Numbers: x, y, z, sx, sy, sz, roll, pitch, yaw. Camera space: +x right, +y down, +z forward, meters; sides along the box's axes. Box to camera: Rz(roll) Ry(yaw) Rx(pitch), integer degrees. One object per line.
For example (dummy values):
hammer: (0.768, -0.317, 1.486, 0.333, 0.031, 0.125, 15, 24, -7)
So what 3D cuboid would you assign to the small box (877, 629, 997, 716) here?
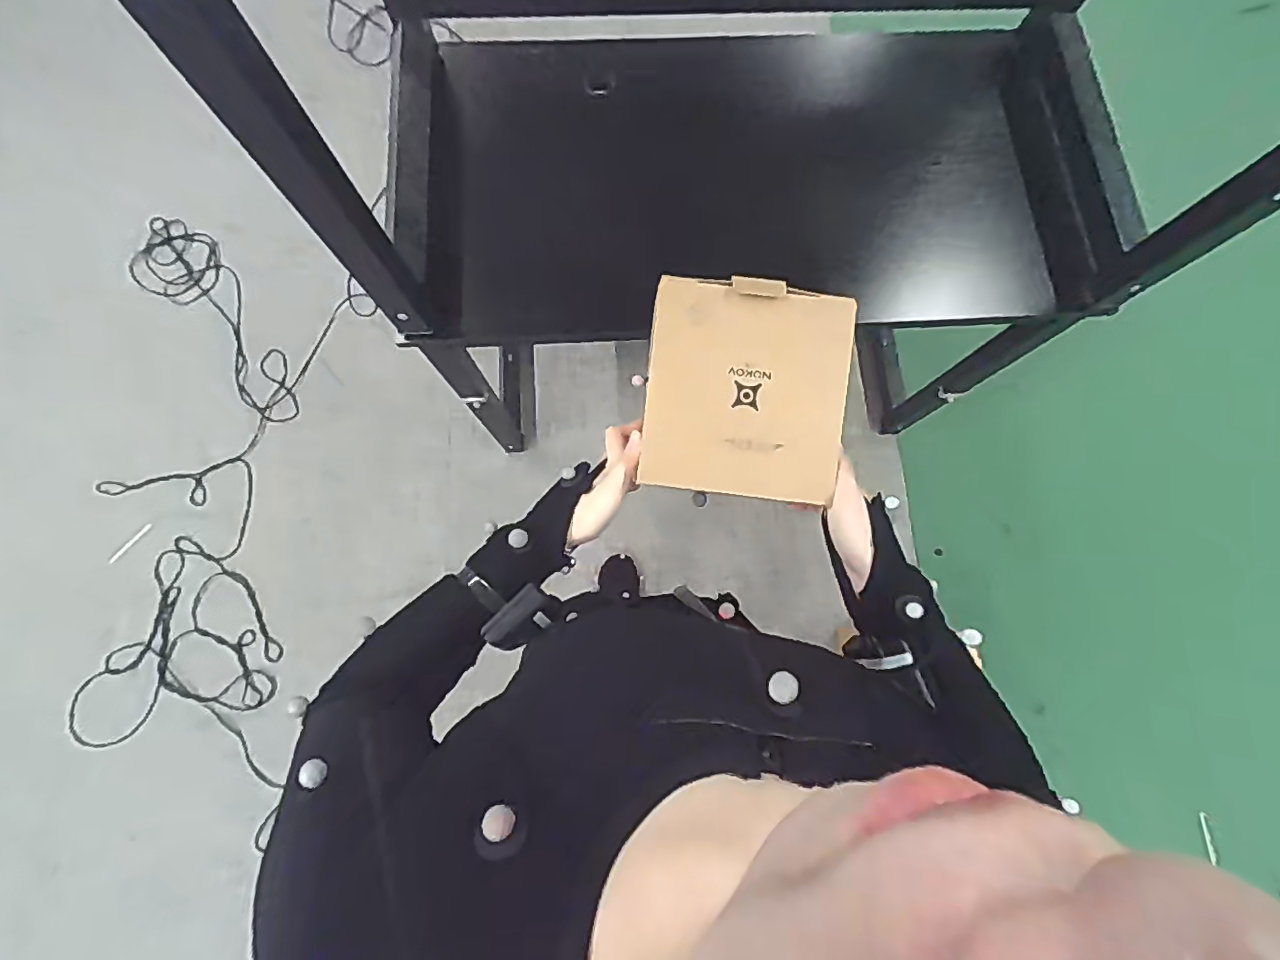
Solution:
small box: (0.658, 0.430, 1.227, 0.179, 0.176, 0.168, -3, 77, -3)

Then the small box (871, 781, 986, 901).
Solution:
small box: (0.609, 0.766, 1.151, 0.168, 0.176, 0.179, 8, 78, 2)
